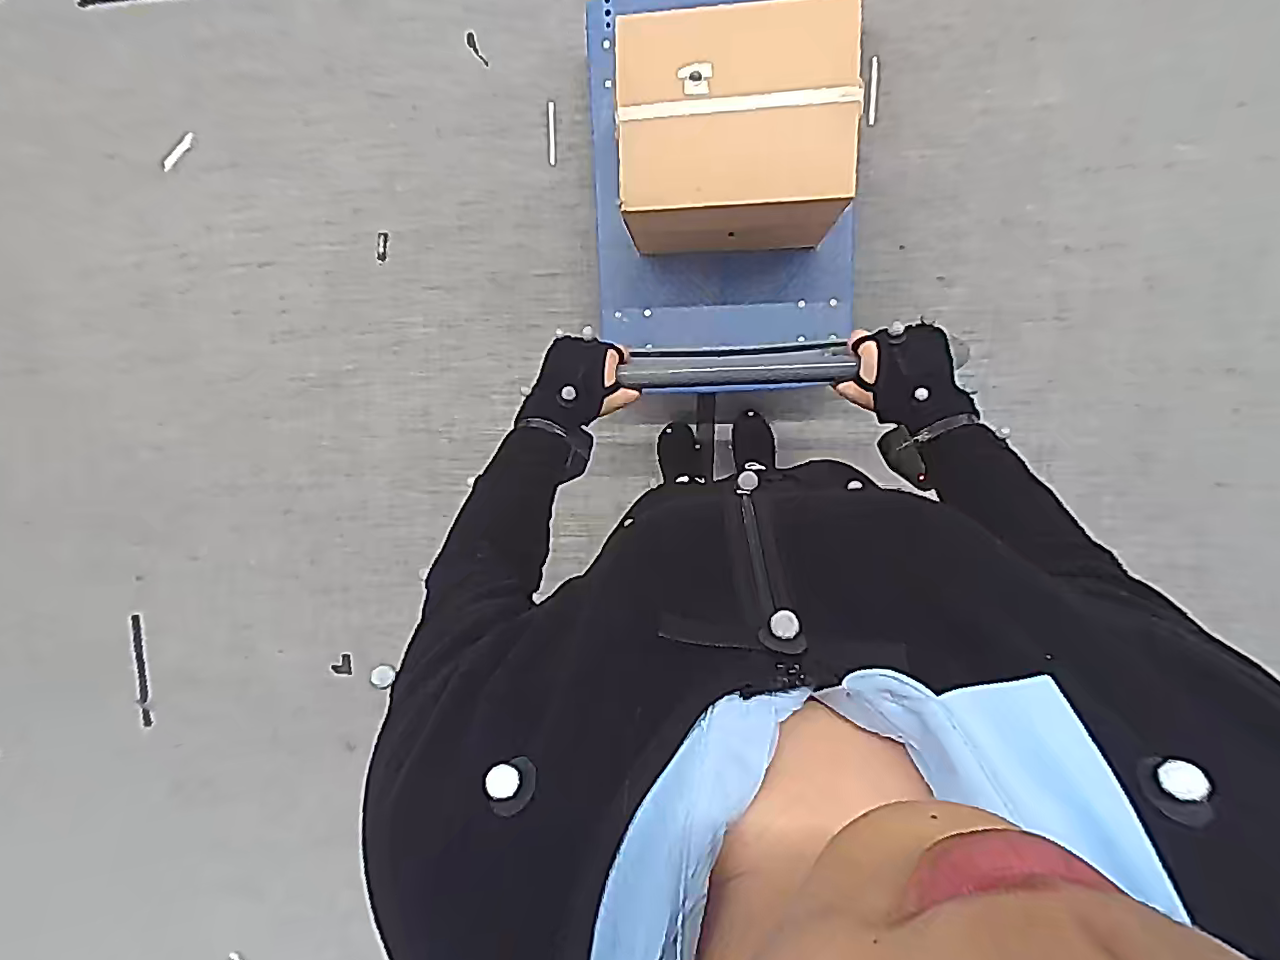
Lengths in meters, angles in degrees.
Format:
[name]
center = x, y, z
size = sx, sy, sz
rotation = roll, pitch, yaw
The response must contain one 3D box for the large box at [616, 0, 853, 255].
[large box]
center = 0.181, -0.656, 1.076
size = 0.408, 0.320, 0.320
rotation = -1, 98, 7
